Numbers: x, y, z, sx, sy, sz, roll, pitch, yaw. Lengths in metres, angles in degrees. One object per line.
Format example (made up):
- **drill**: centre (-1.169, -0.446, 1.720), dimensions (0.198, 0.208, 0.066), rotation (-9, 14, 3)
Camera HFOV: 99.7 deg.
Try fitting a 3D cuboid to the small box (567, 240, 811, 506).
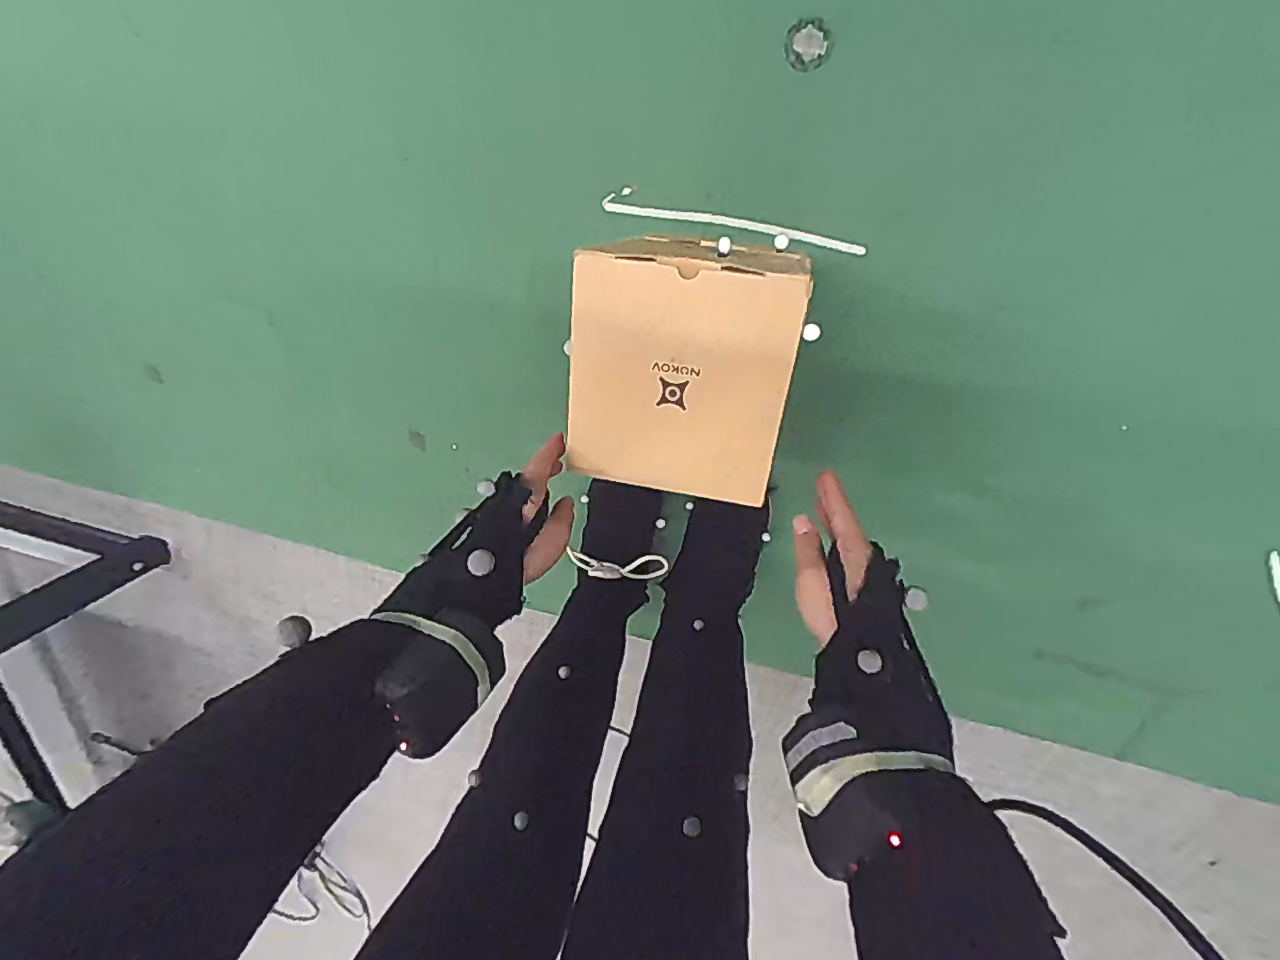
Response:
- **small box**: centre (0.044, -0.104, 0.472), dimensions (0.168, 0.176, 0.179), rotation (10, 117, 9)
